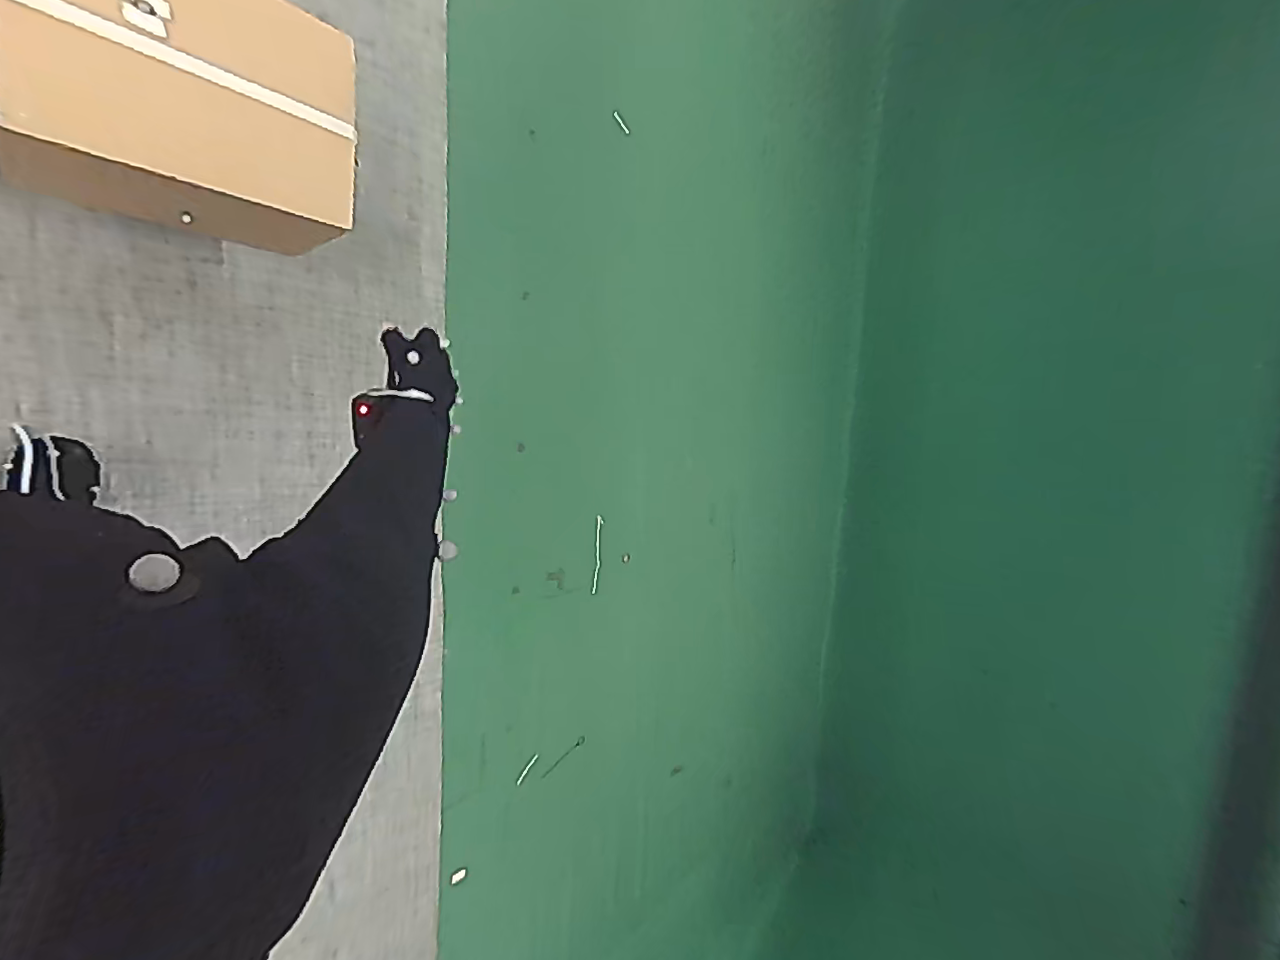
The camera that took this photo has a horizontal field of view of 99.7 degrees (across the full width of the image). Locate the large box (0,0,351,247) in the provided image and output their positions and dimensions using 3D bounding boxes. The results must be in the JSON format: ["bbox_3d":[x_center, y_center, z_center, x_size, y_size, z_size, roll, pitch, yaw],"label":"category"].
[{"bbox_3d":[-0.738,-0.608,0.881,0.408,0.320,0.320,-2,98,-48],"label":"large box"}]
